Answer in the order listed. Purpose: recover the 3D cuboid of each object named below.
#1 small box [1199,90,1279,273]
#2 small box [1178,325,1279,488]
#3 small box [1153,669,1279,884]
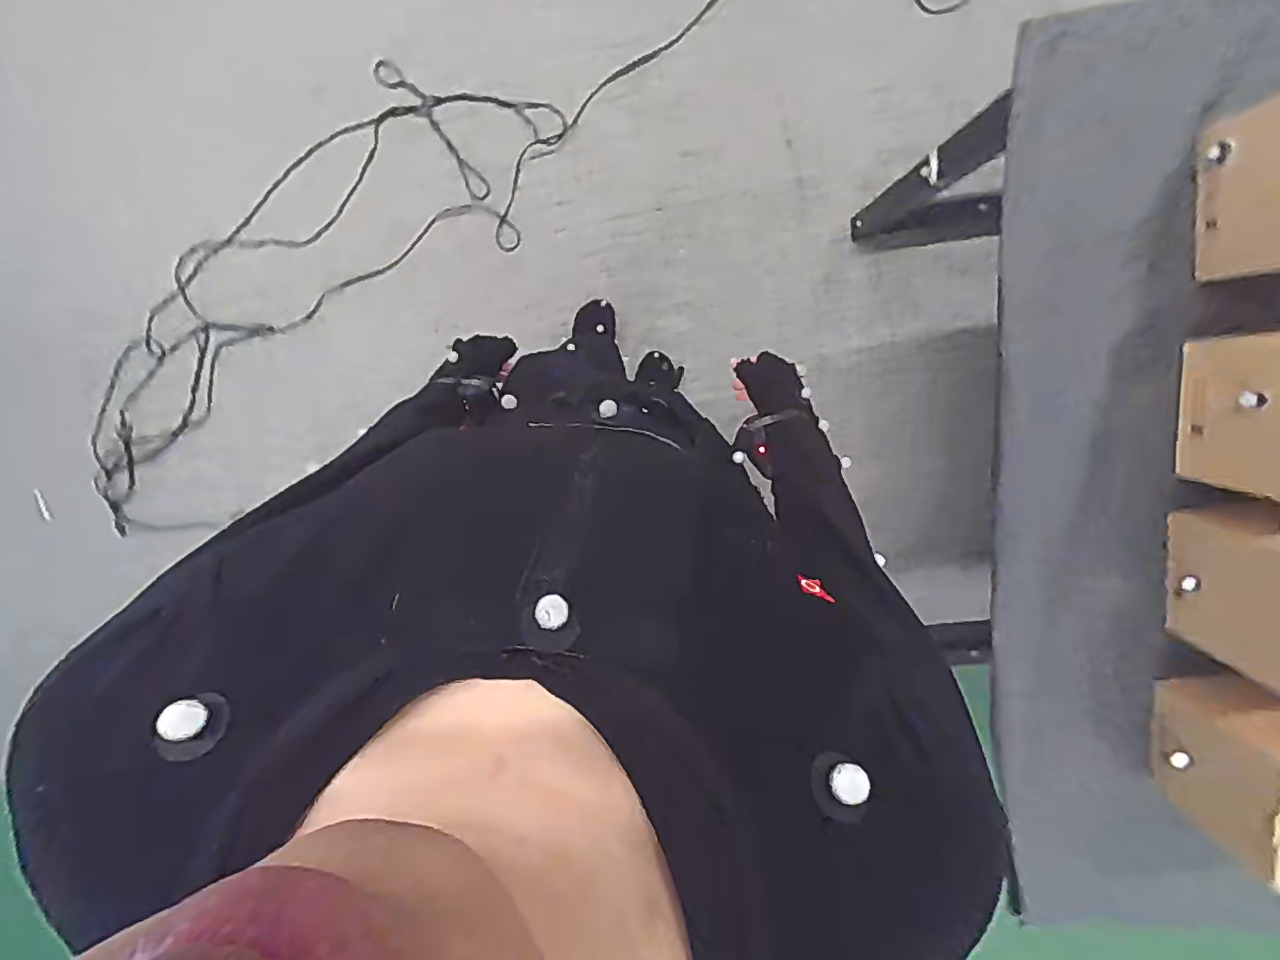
[{"bbox_3d":[0.708,-0.312,0.526,0.179,0.176,0.168,-11,102,5],"label":"small box"},{"bbox_3d":[0.738,-0.083,0.577,0.179,0.176,0.168,-8,102,5],"label":"small box"},{"bbox_3d":[0.800,0.353,0.667,0.179,0.176,0.168,-8,101,6],"label":"small box"}]
